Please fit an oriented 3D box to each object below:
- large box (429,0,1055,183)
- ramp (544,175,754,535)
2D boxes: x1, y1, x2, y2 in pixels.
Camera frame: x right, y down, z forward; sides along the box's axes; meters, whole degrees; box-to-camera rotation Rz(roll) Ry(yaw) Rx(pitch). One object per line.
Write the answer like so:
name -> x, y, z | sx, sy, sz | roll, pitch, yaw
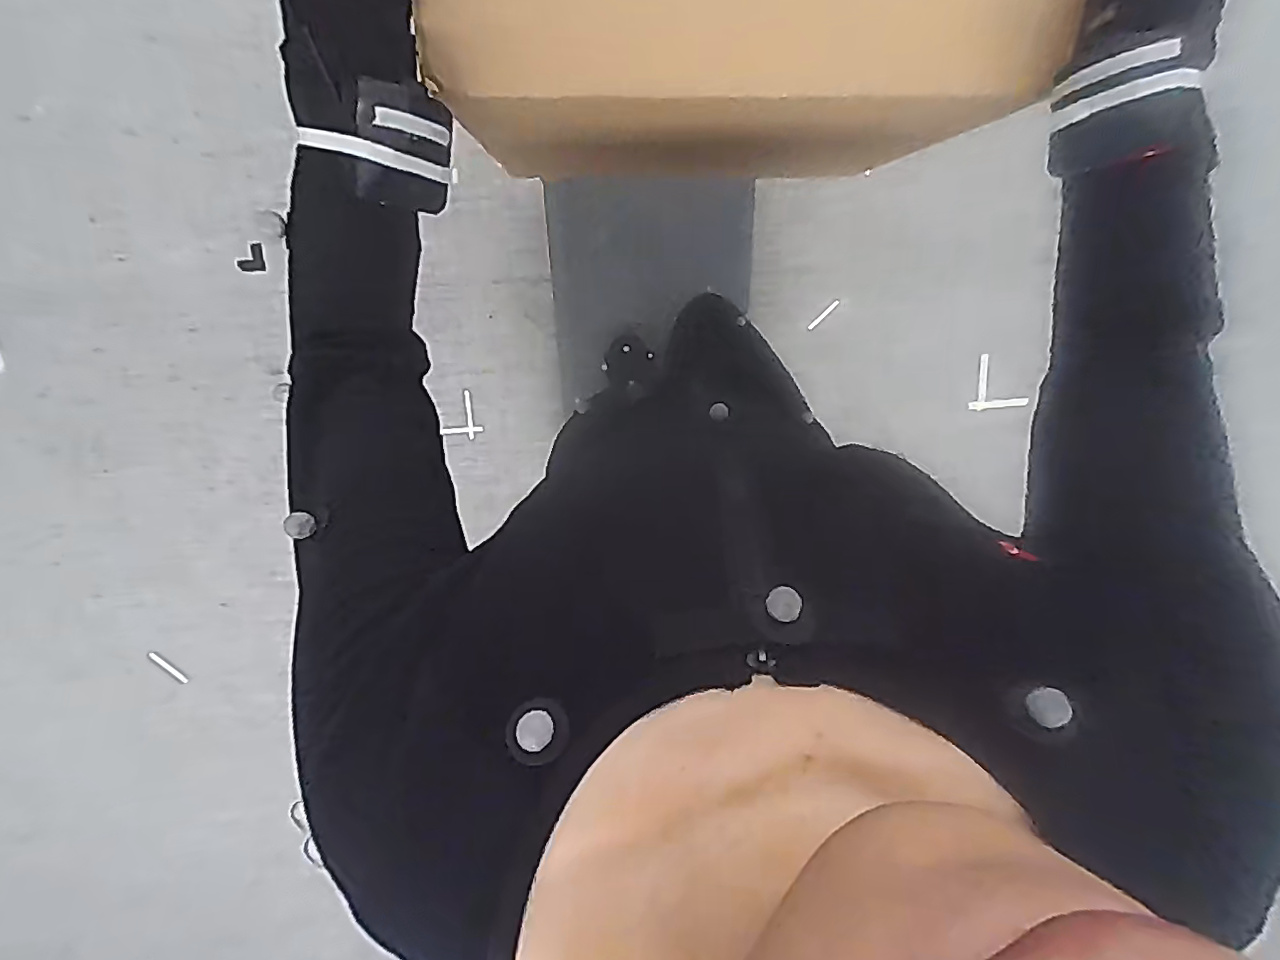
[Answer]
large box -> 0.055, -0.447, 0.442 | 0.408, 0.320, 0.320 | -2, 111, -3
ramp -> 0.041, -0.304, 1.424 | 0.509, 0.206, 0.991 | -5, 104, -1
